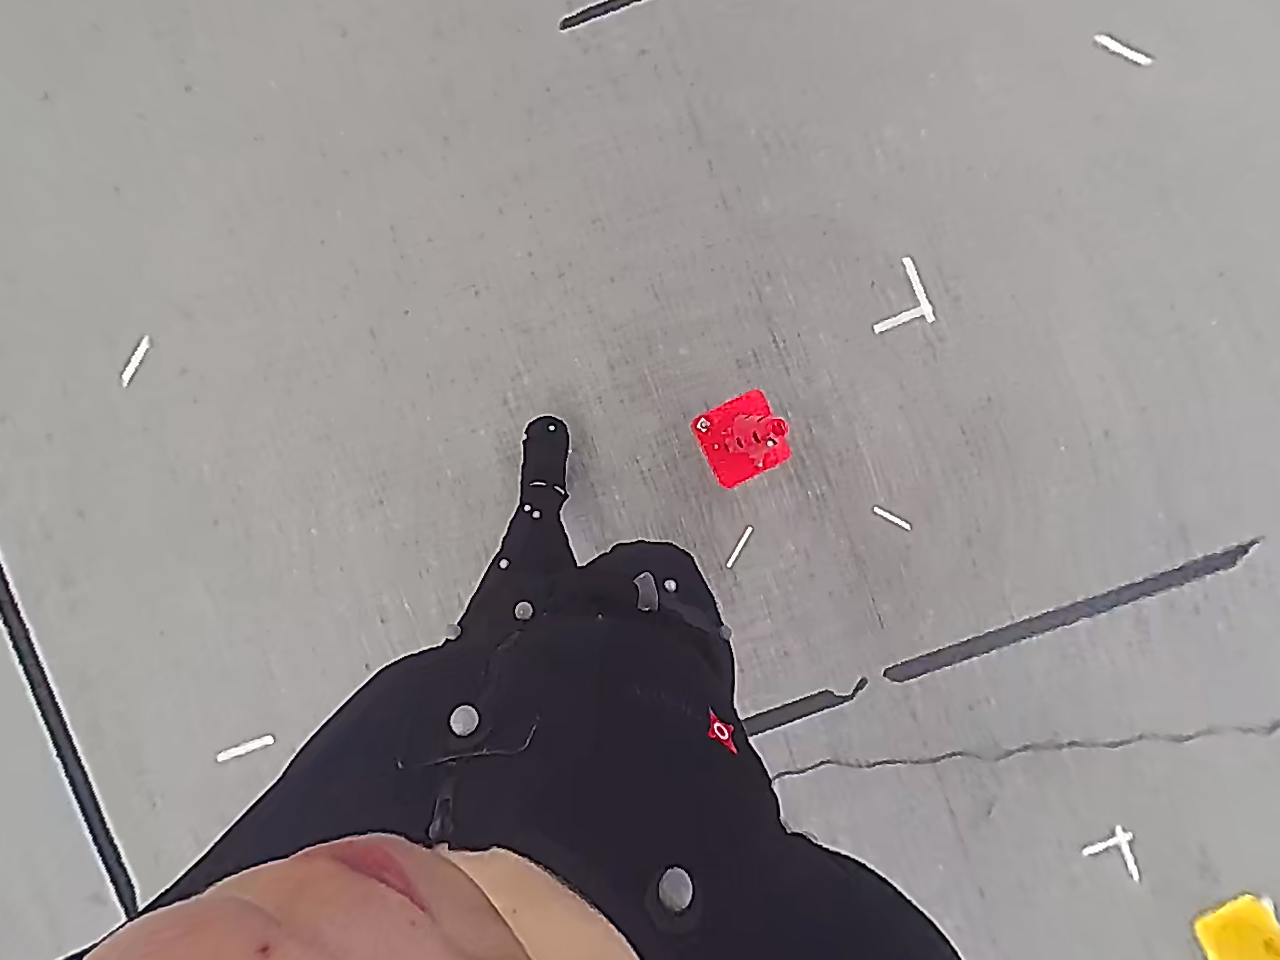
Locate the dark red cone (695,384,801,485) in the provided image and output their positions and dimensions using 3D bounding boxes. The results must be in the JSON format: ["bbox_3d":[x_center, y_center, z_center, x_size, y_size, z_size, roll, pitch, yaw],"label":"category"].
[{"bbox_3d":[0.260,-0.105,1.157,0.202,0.394,0.201,-28,92,0],"label":"dark red cone"}]
